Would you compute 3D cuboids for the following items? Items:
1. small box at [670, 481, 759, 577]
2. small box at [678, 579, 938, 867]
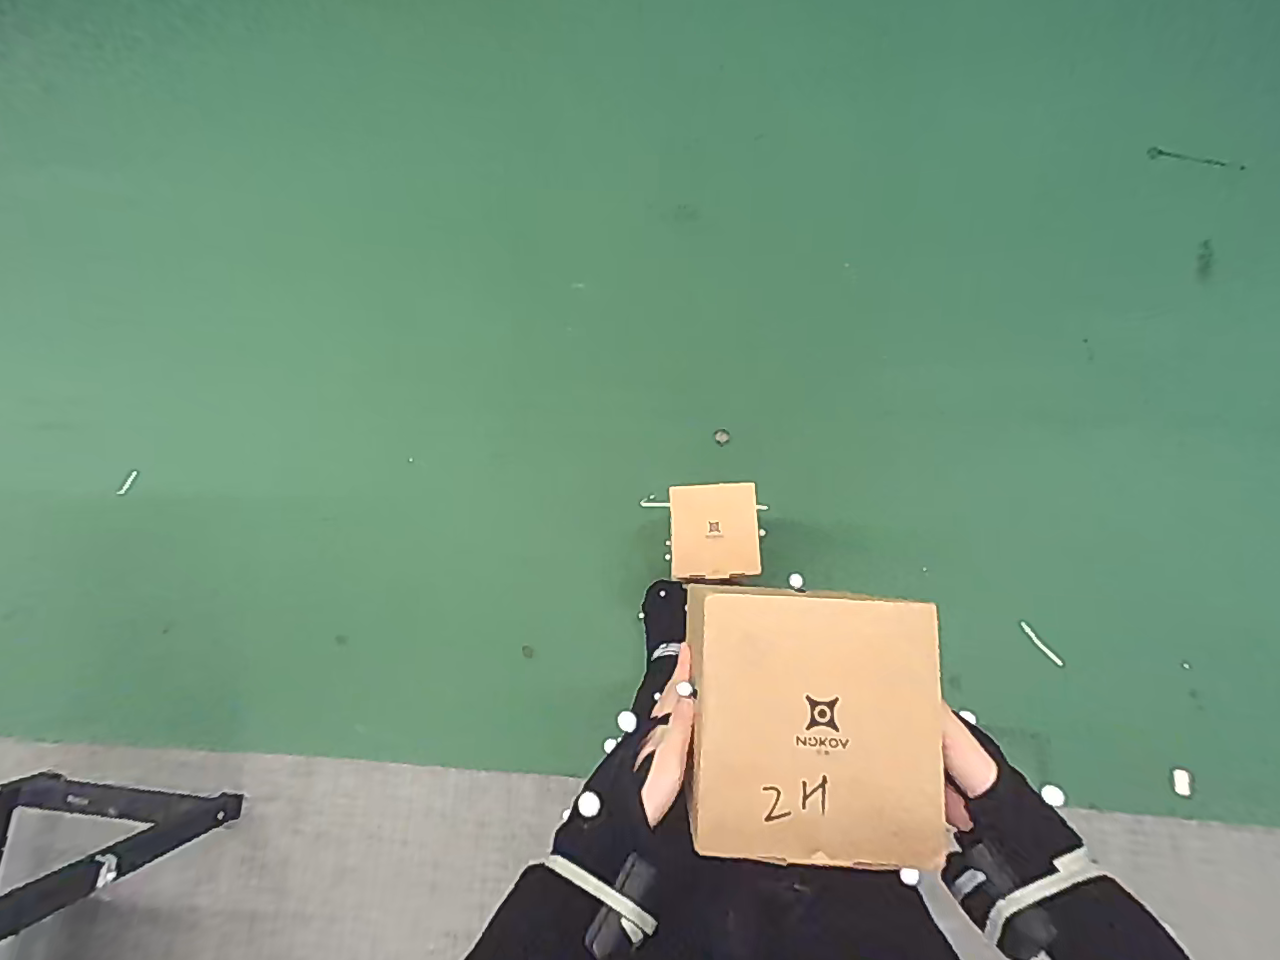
[{"bbox_3d":[0.144,0.105,1.097,0.168,0.176,0.179,-3,80,5],"label":"small box"},{"bbox_3d":[0.121,0.177,0.449,0.168,0.176,0.179,4,80,2],"label":"small box"}]
